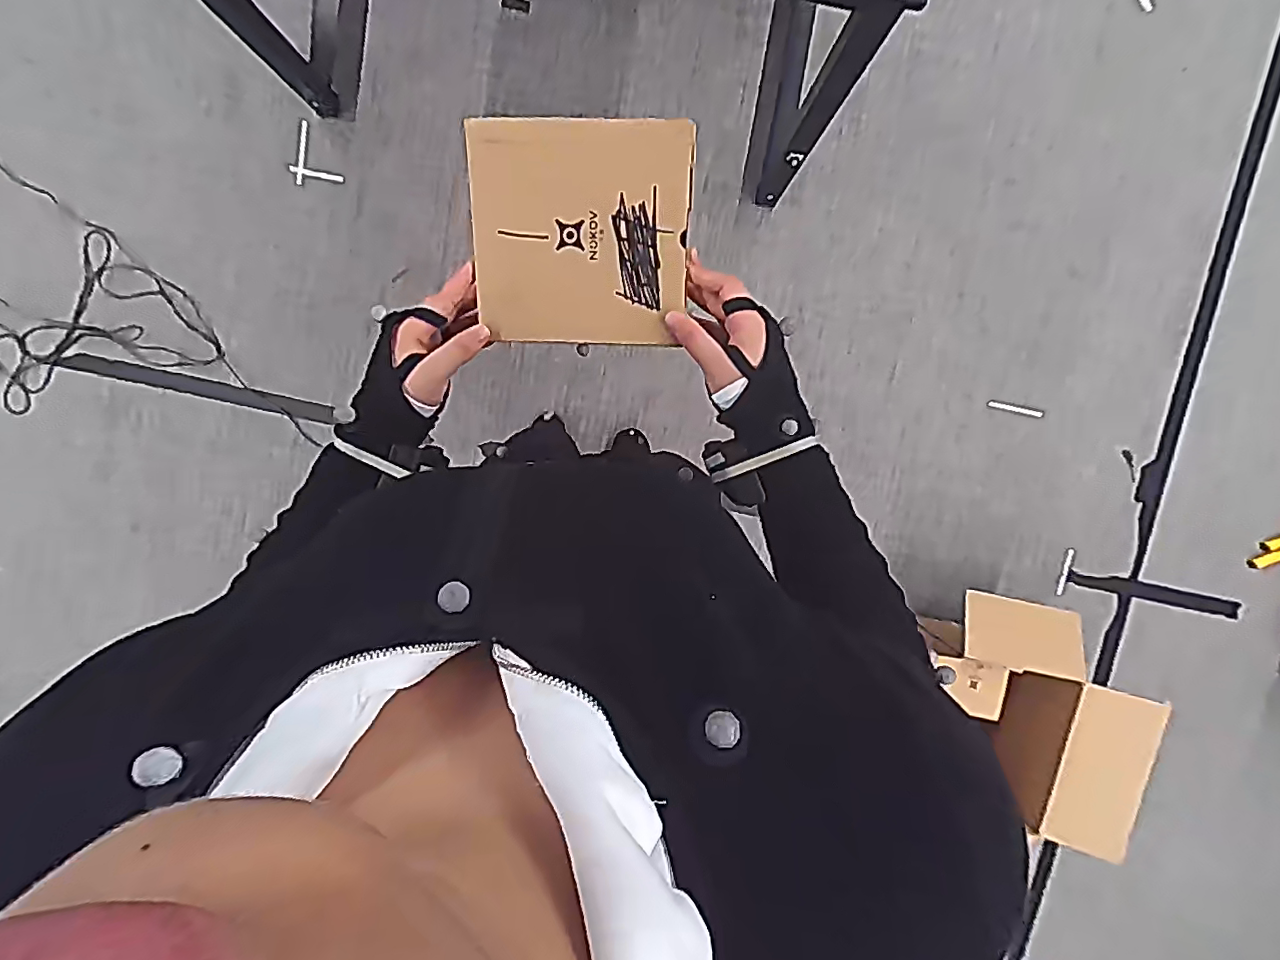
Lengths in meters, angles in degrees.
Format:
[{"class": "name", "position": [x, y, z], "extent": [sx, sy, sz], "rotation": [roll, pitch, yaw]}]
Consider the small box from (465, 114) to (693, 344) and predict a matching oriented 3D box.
[{"class": "small box", "position": [-0.046, -0.220, 0.508], "extent": [0.179, 0.176, 0.168], "rotation": [2, 107, 2]}]
